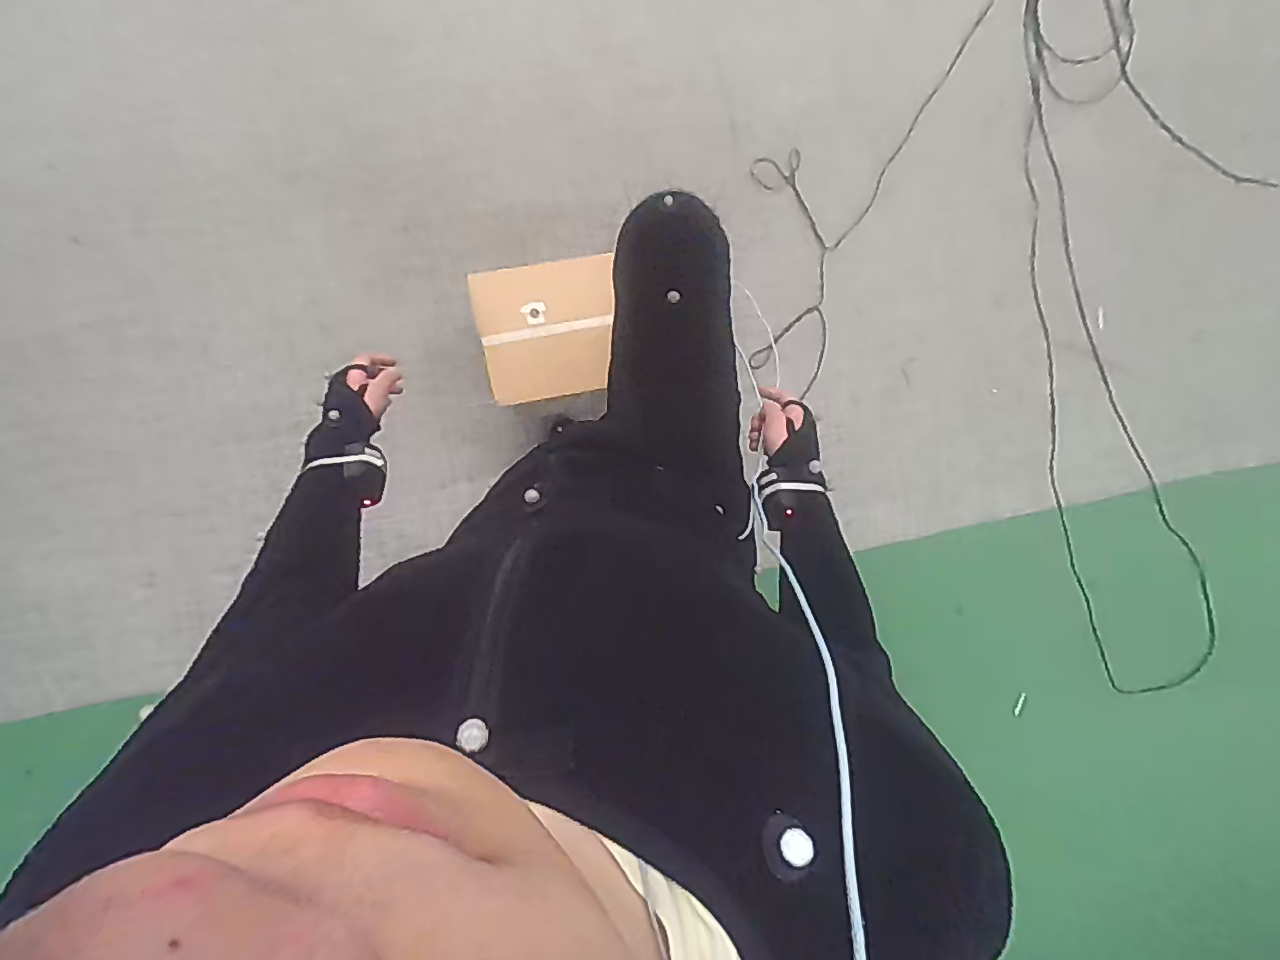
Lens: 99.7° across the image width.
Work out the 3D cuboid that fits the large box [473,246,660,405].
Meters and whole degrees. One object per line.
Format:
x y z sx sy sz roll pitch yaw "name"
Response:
-0.186 -0.391 1.446 0.408 0.320 0.320 -12 97 -5 "large box"
